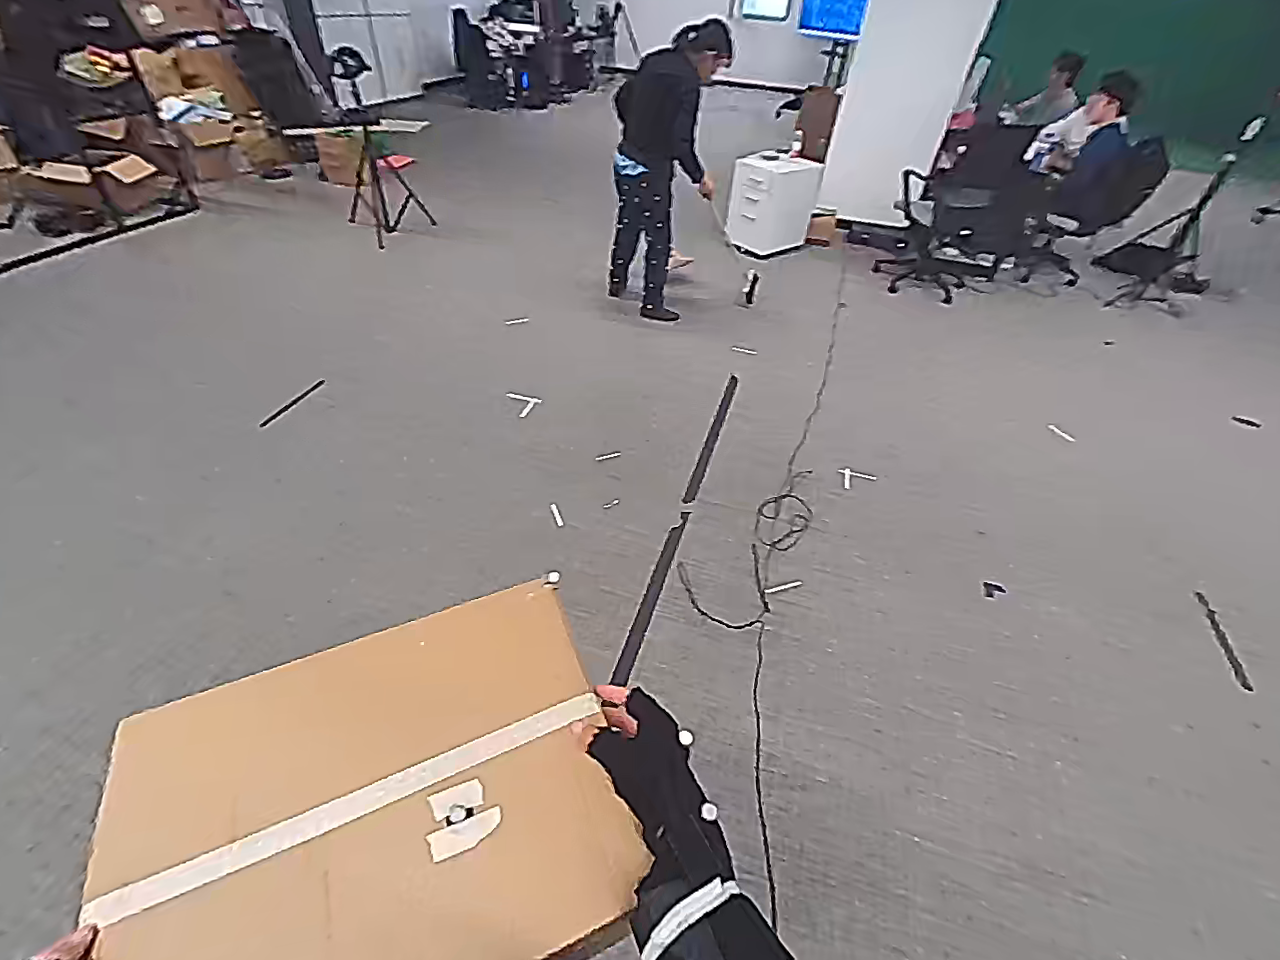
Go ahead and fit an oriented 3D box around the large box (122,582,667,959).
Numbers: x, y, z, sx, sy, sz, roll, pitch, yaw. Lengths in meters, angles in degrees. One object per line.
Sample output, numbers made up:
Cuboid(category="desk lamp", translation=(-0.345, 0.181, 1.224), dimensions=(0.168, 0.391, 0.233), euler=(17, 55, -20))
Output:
Cuboid(category="large box", translation=(-0.221, 0.376, 0.590), dimensions=(0.408, 0.320, 0.320), euler=(-15, 50, -17))
